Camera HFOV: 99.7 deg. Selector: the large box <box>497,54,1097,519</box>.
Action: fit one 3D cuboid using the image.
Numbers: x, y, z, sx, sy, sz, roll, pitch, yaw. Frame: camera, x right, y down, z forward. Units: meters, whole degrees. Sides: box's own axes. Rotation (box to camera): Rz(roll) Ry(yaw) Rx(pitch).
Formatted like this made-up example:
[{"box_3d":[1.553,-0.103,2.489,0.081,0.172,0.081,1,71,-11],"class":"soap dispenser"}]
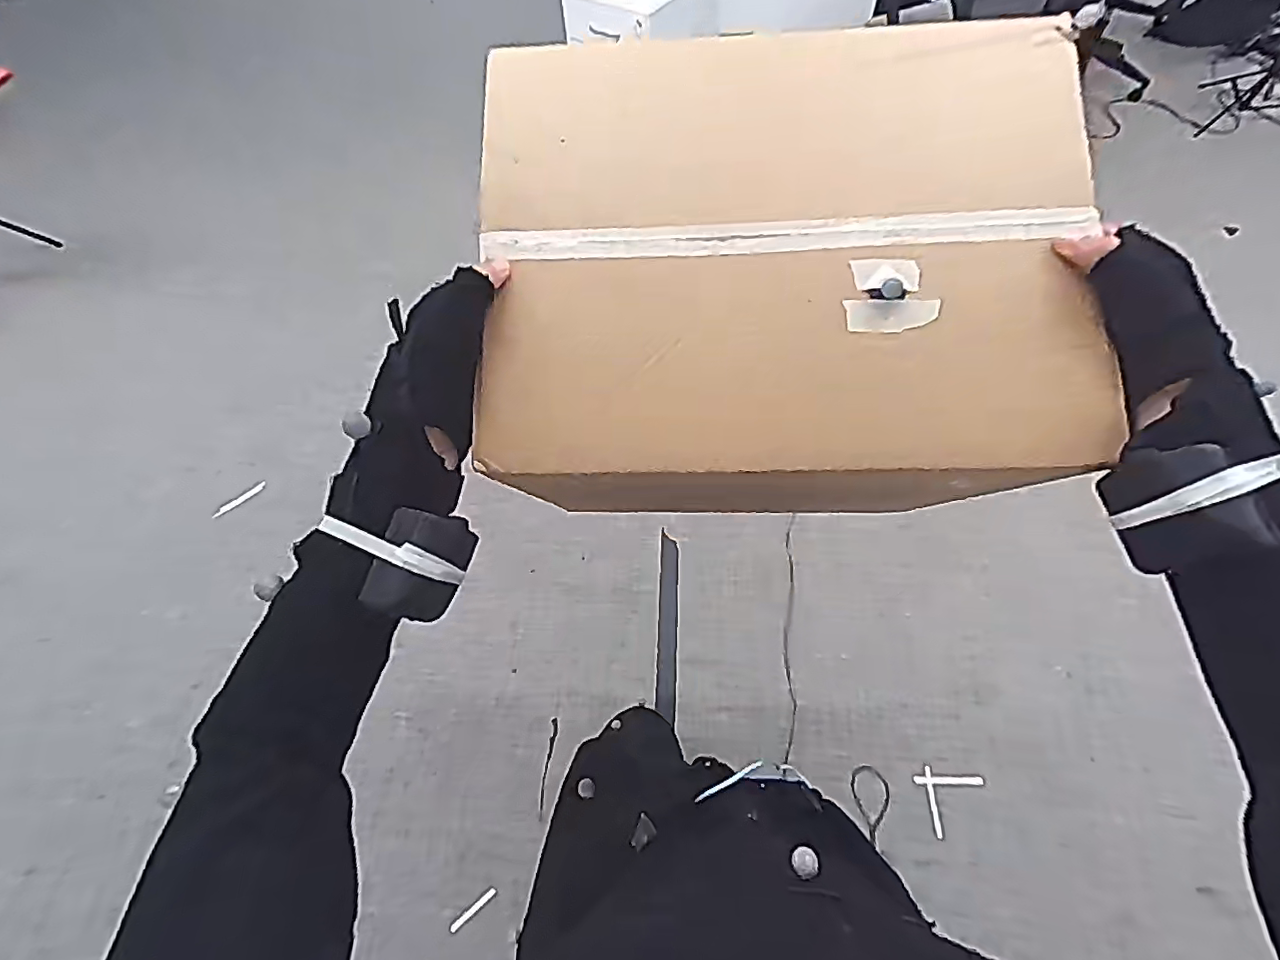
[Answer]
[{"box_3d":[0.103,-0.131,0.526,0.408,0.320,0.320,-1,83,3],"class":"large box"}]
